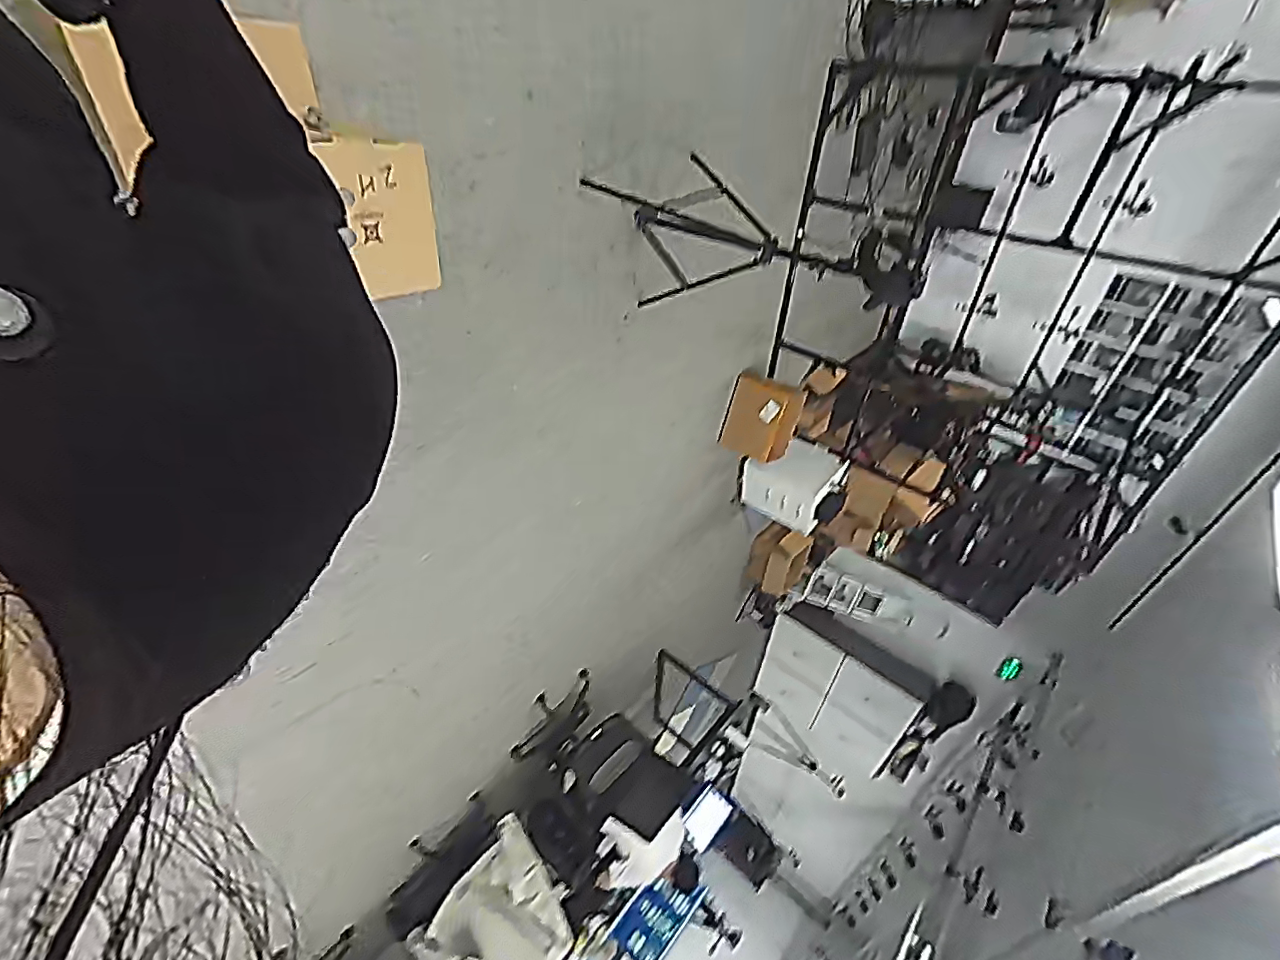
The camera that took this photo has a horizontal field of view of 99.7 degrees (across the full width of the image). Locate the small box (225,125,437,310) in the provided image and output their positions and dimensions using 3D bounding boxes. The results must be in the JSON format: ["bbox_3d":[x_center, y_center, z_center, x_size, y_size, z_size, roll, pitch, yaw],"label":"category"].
[{"bbox_3d":[-0.388,-0.340,0.693,0.168,0.176,0.179,-30,138,-39],"label":"small box"}]
